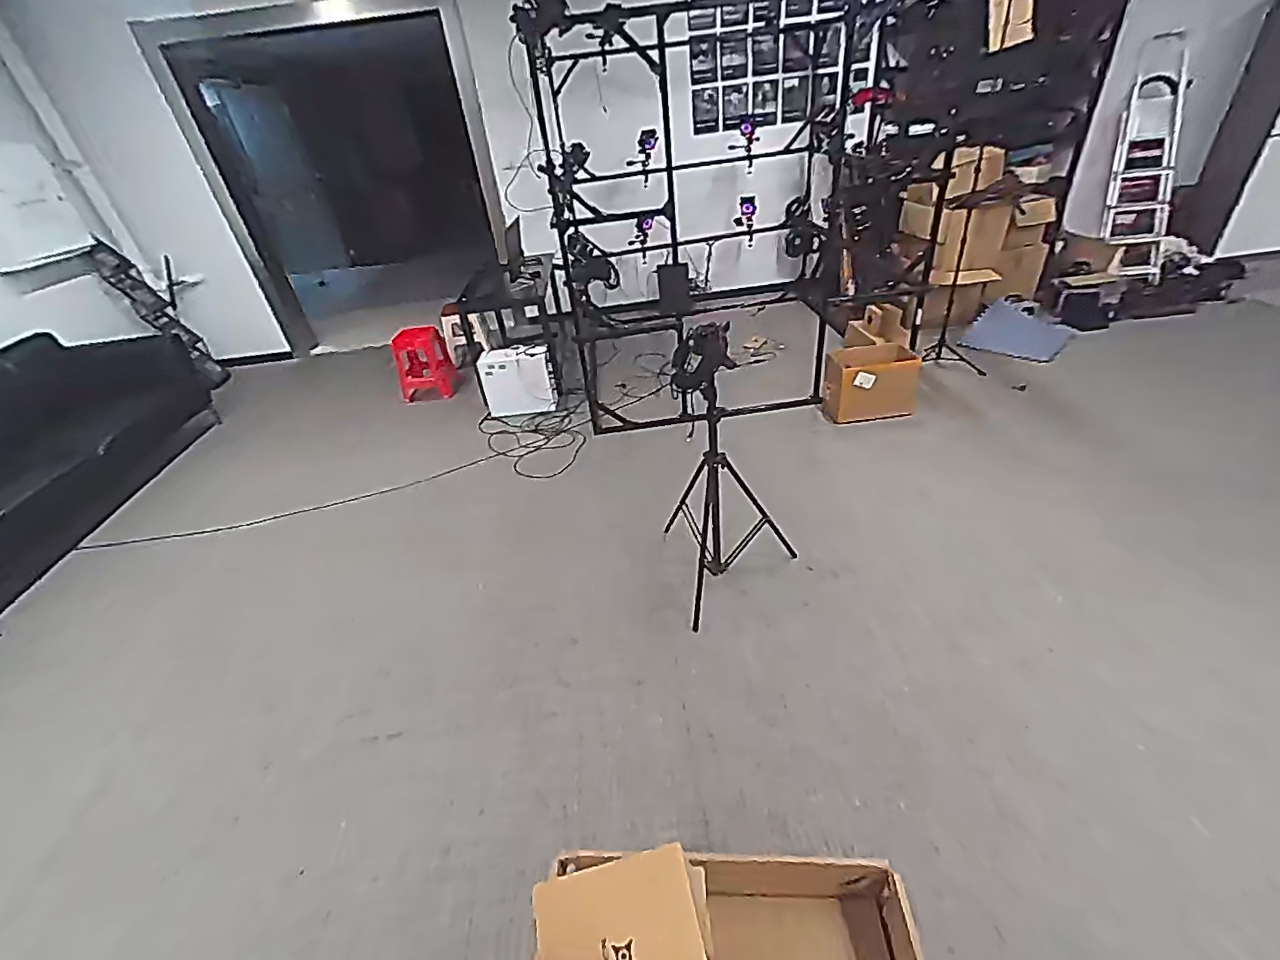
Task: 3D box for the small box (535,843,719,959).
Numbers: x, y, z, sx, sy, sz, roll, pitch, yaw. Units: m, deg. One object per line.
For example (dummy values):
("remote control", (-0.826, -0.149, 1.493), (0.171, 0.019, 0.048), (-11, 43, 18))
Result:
("small box", (-0.003, 0.536, 0.602), (0.179, 0.176, 0.168), (-17, 45, -1))
